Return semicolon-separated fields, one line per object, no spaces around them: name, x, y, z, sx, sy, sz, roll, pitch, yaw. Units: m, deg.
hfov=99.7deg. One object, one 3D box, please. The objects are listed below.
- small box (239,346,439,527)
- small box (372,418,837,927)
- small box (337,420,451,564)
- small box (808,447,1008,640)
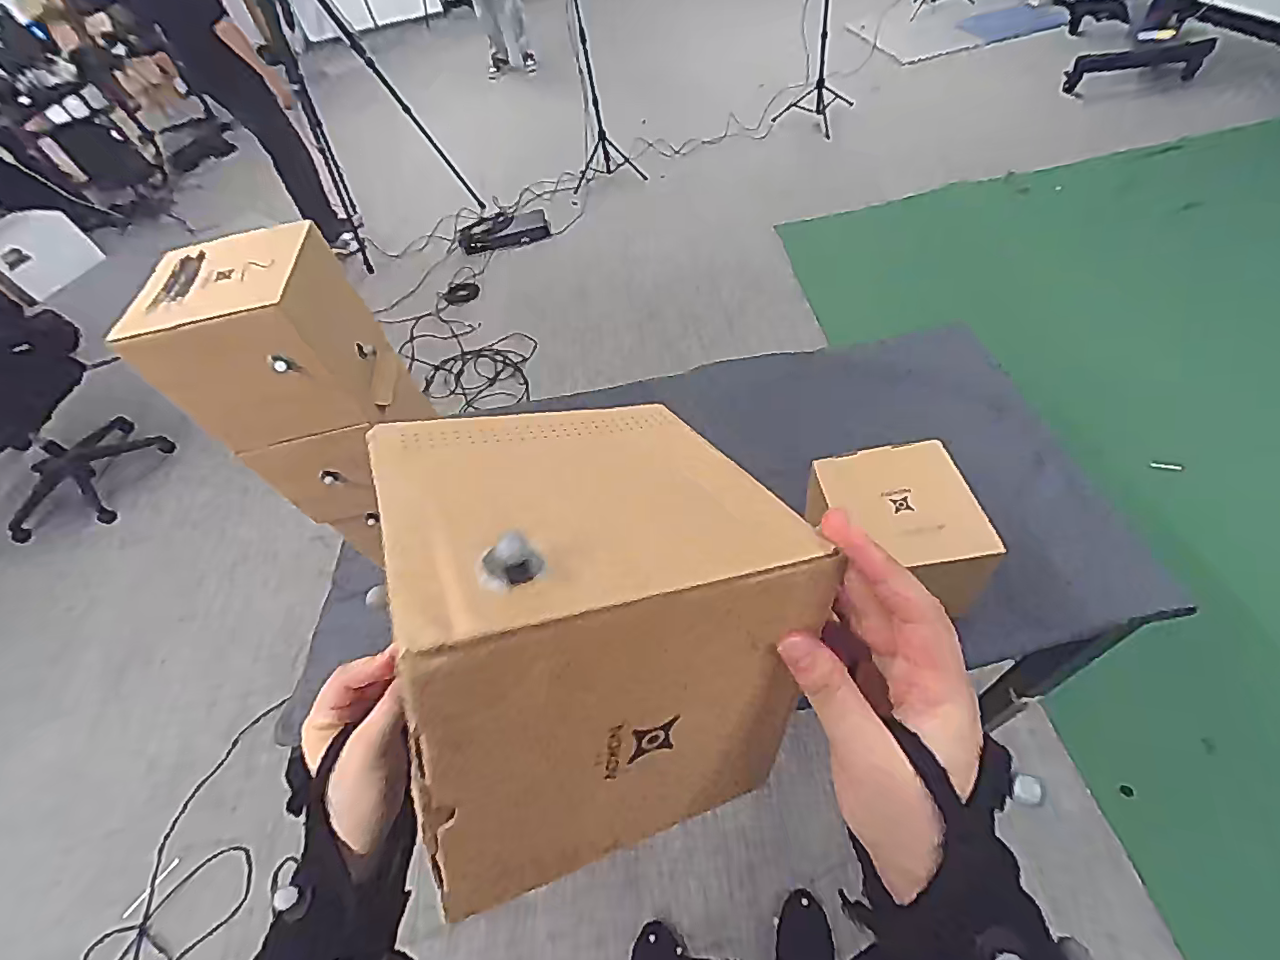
small box;-0.403;-0.056;0.764;0.179;0.176;0.168;-13;52;2
small box;-0.035;0.076;0.292;0.179;0.168;0.176;-9;33;-23
small box;-0.379;0.031;0.904;0.168;0.176;0.179;-14;52;1
small box;0.327;0.086;0.707;0.168;0.176;0.179;-11;50;5
